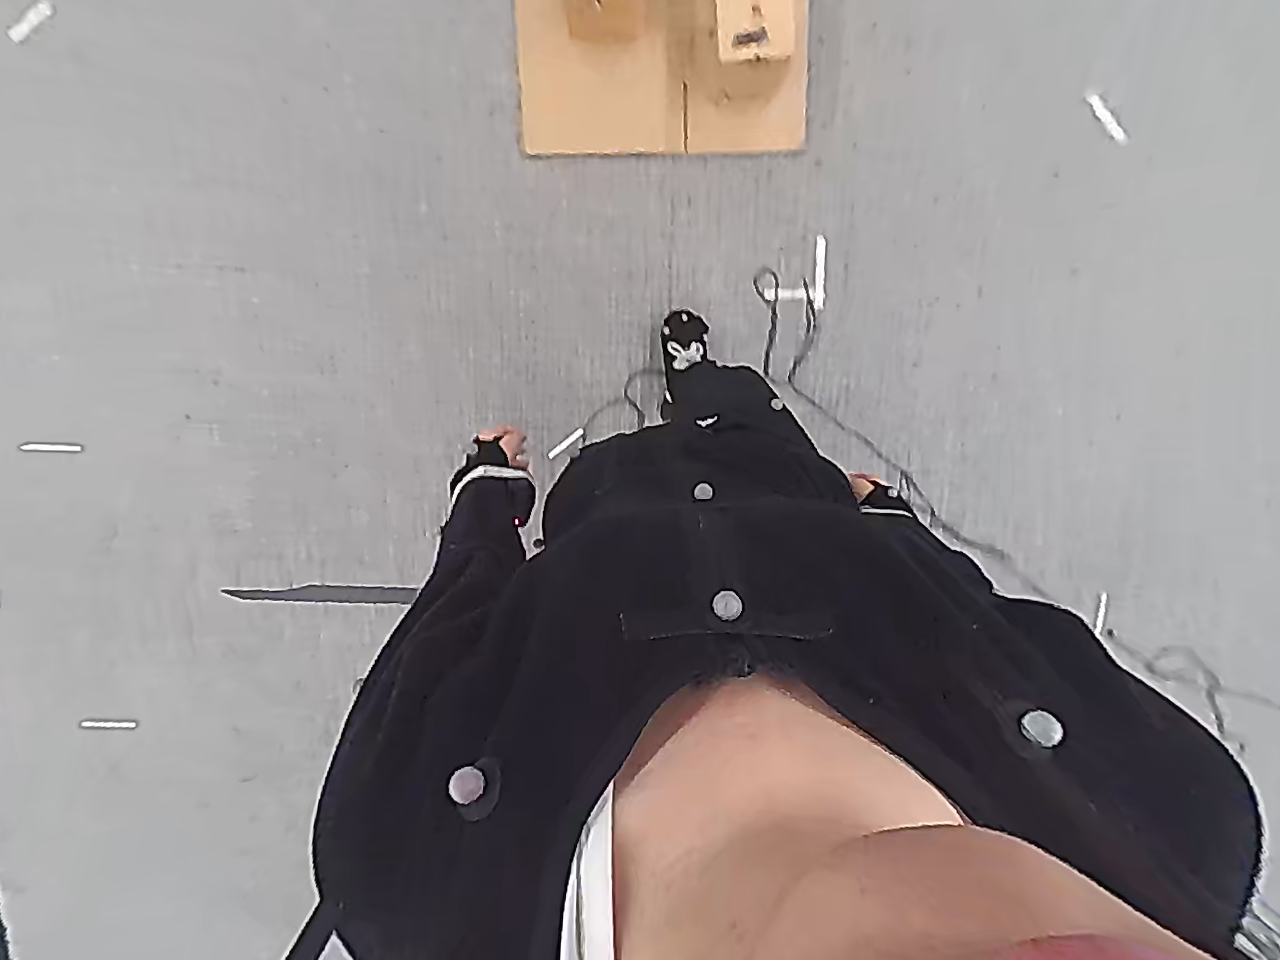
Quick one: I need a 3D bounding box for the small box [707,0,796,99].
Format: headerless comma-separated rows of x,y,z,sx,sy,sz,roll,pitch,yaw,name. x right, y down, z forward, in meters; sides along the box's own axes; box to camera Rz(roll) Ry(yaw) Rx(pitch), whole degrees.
0.246,-0.991,1.217,0.168,0.176,0.179,-4,99,0,small box

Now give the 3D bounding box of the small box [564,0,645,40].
-0.074,-1.113,1.191,0.179,0.176,0.168,3,100,0,small box
